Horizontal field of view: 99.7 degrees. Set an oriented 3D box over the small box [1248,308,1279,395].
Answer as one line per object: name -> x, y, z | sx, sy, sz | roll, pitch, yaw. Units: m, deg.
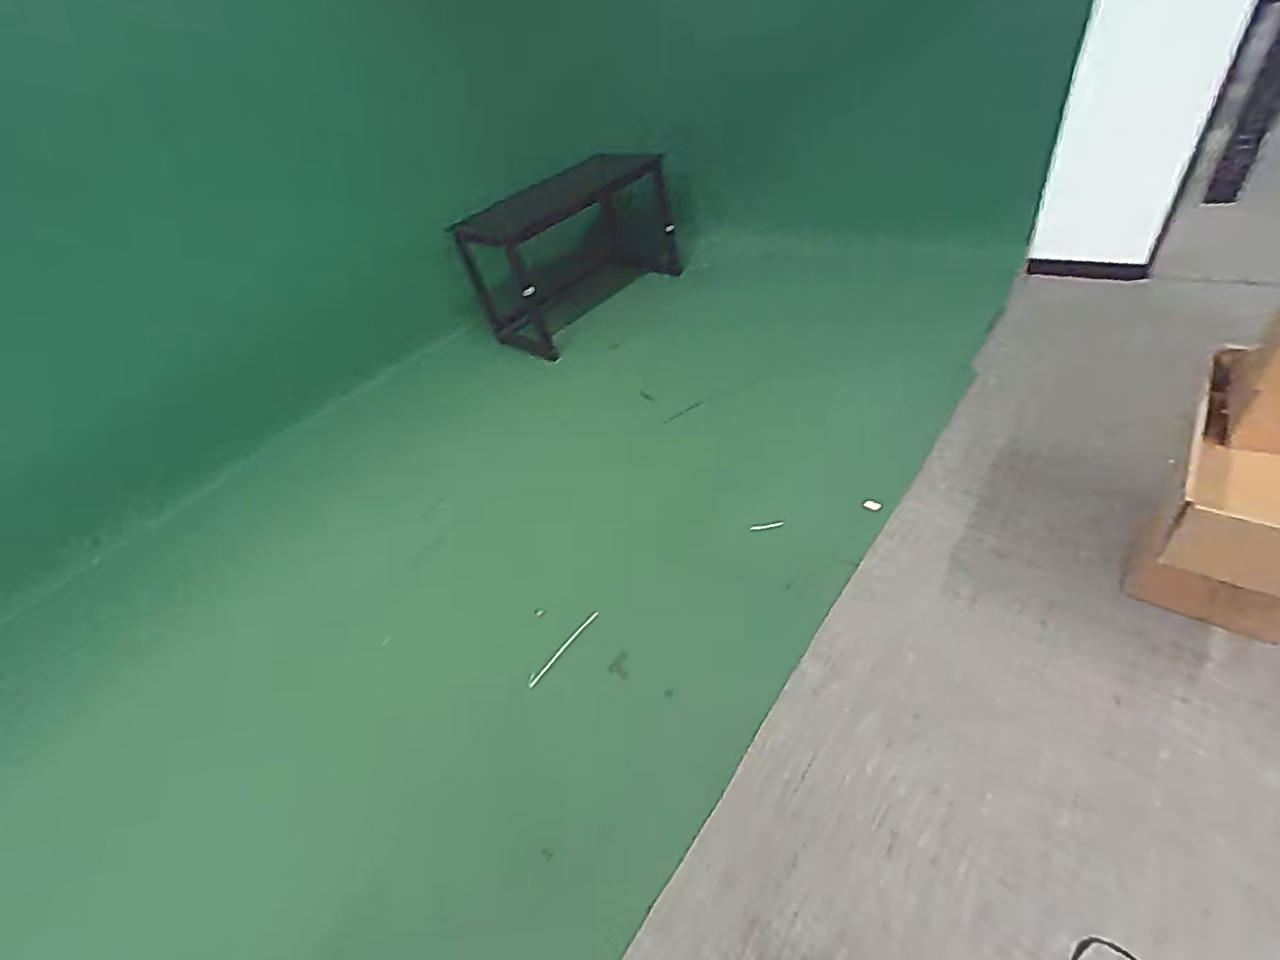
small box -> 1.443, -0.281, 1.133 | 0.179, 0.176, 0.168 | 16, 51, 33
